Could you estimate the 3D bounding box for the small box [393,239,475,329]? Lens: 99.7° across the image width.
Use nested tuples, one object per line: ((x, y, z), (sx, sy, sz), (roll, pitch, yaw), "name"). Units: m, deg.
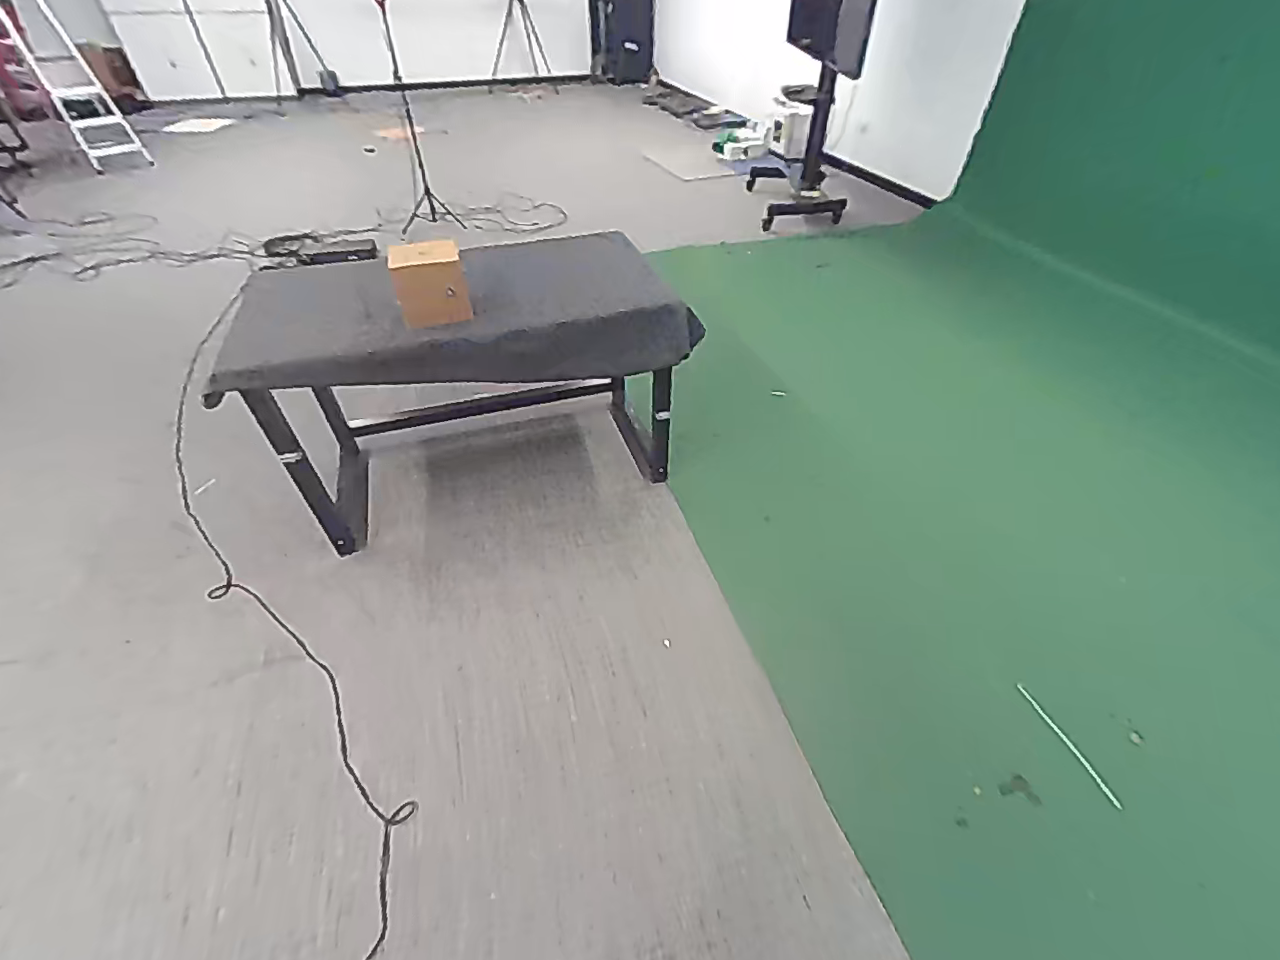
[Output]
((-0.553, -0.532, 1.467), (0.179, 0.176, 0.168), (-15, 44, -13), "small box")
